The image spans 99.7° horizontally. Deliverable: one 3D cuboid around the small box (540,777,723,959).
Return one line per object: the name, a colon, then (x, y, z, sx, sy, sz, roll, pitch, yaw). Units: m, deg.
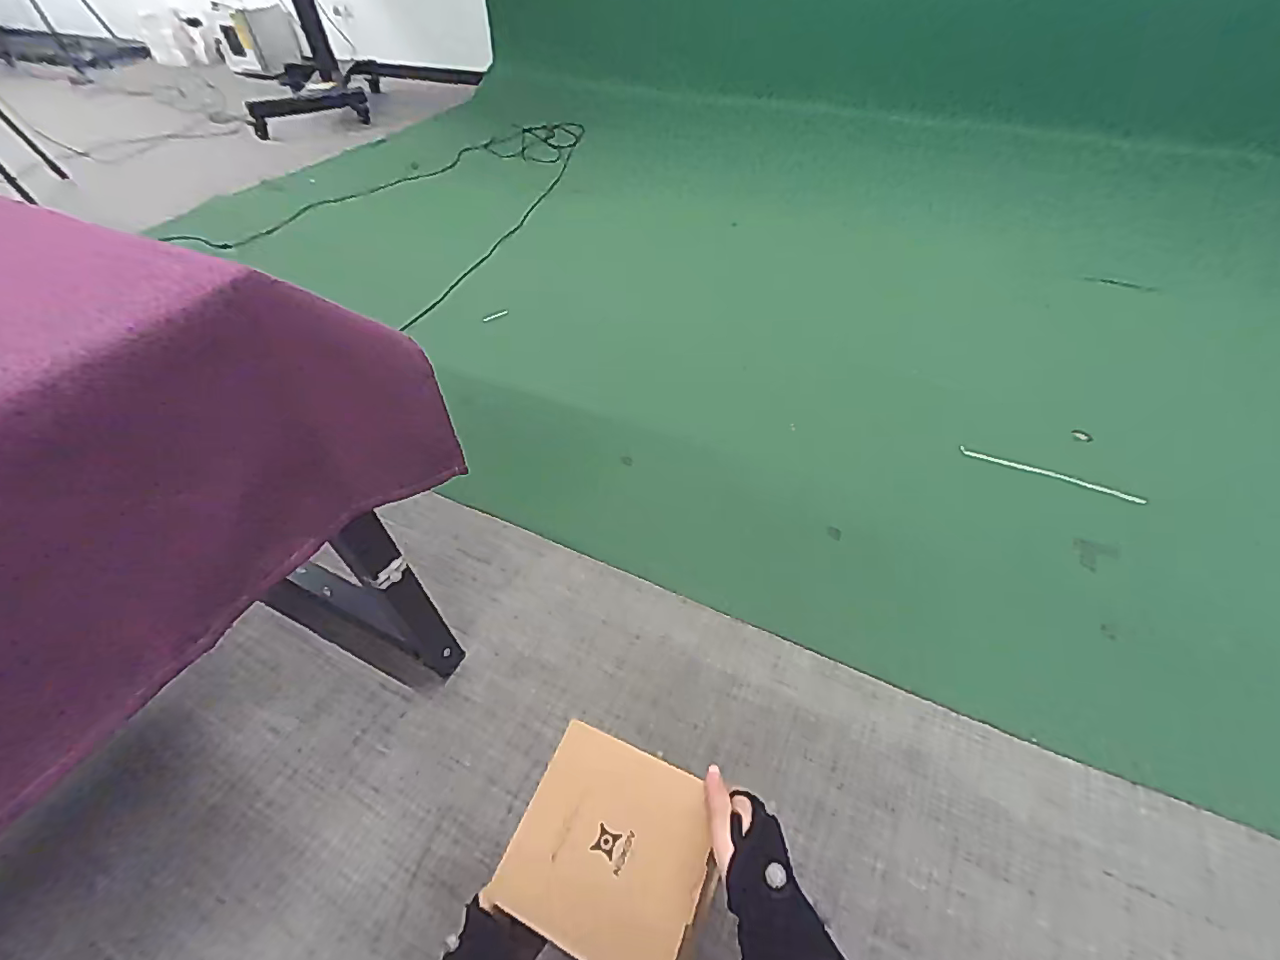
small box: (-0.002, 0.523, 0.694, 0.168, 0.176, 0.179, 19, 53, 17)
